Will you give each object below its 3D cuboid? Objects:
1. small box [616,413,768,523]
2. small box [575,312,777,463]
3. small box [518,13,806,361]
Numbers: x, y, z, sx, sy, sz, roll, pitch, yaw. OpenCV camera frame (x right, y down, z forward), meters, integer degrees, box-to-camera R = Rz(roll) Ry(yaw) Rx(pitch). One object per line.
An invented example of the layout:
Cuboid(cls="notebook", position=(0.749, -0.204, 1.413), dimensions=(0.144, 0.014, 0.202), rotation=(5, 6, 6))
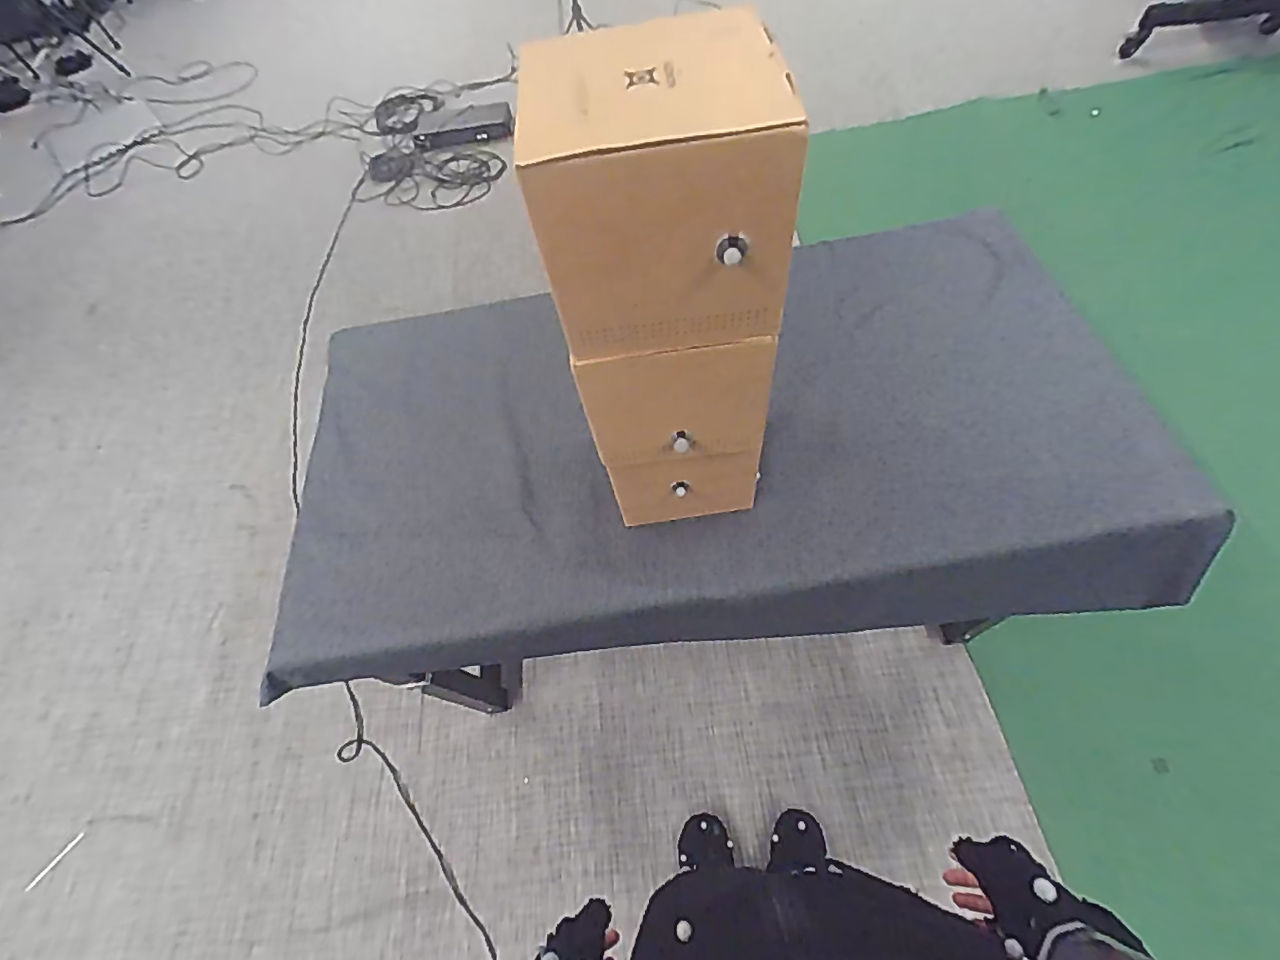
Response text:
Cuboid(cls="small box", position=(0.053, -0.060, 0.711), dimensions=(0.179, 0.176, 0.168), rotation=(-11, 60, 0))
Cuboid(cls="small box", position=(0.032, -0.135, 0.568), dimensions=(0.179, 0.176, 0.168), rotation=(-7, 59, 3))
Cuboid(cls="small box", position=(0.015, -0.218, 0.428), dimensions=(0.179, 0.176, 0.168), rotation=(-9, 59, 4))
